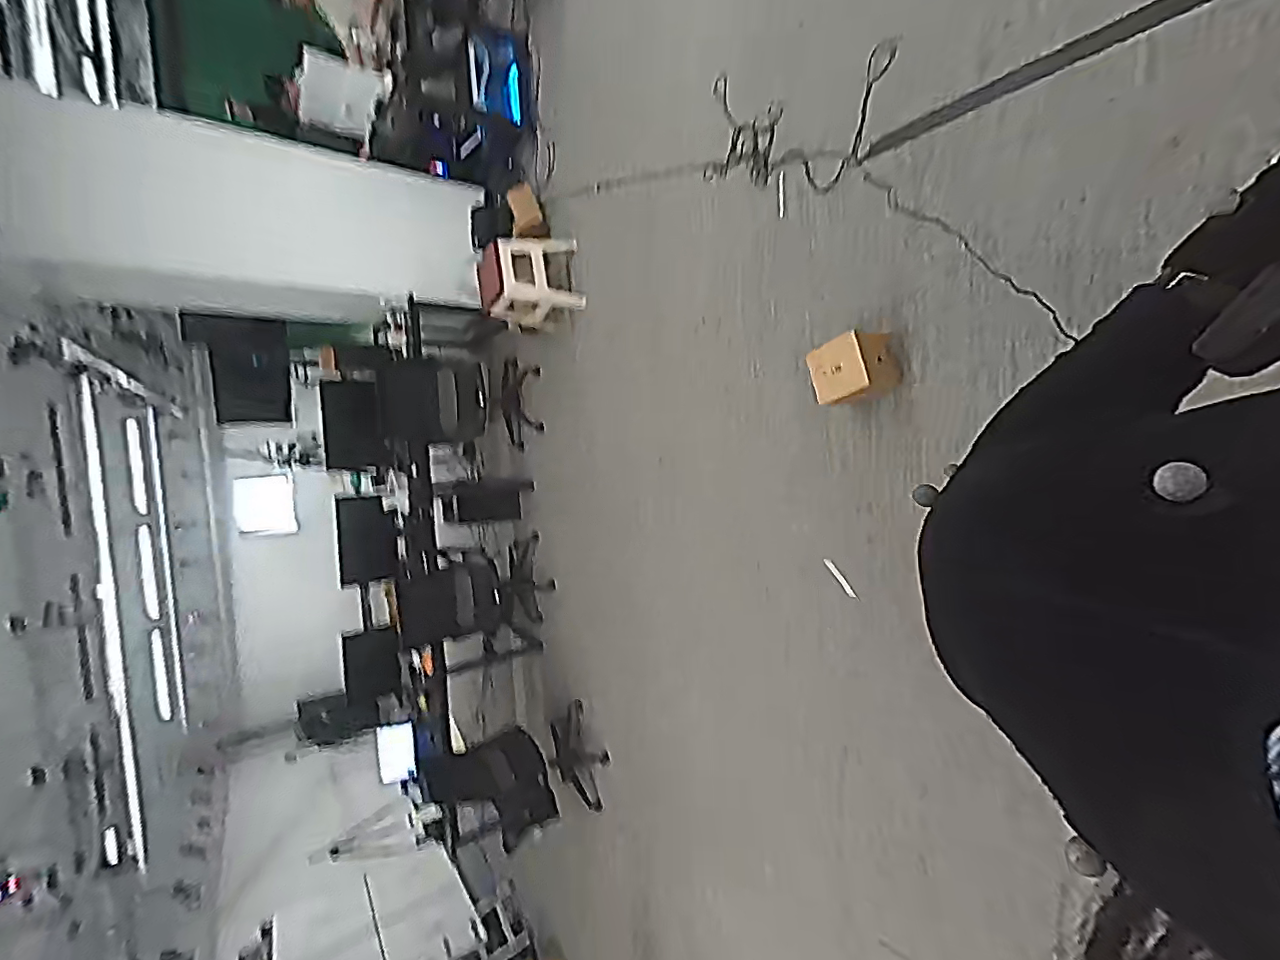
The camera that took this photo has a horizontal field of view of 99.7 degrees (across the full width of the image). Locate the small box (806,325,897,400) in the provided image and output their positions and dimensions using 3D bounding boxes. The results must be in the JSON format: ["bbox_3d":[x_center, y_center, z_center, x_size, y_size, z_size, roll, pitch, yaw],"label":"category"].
[{"bbox_3d":[0.630,-0.343,1.597,0.179,0.176,0.168,-23,76,54],"label":"small box"}]
